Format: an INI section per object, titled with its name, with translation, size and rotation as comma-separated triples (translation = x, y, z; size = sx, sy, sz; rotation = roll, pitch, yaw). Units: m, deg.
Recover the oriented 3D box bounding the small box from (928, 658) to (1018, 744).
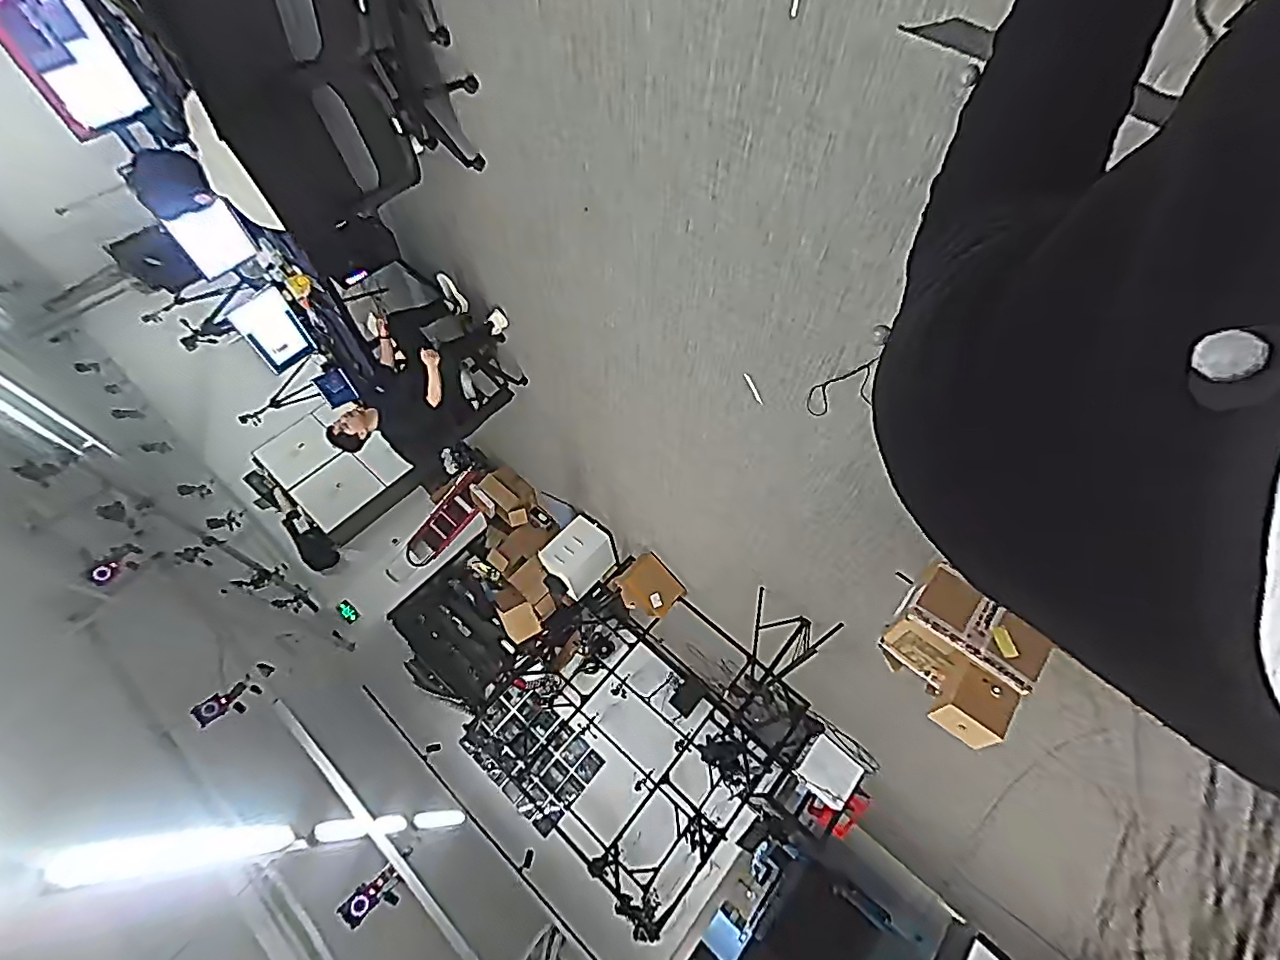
[small box]
translation = 1.072, 0.709, 1.738
size = 0.168, 0.176, 0.179
rotation = 34, 150, 22
